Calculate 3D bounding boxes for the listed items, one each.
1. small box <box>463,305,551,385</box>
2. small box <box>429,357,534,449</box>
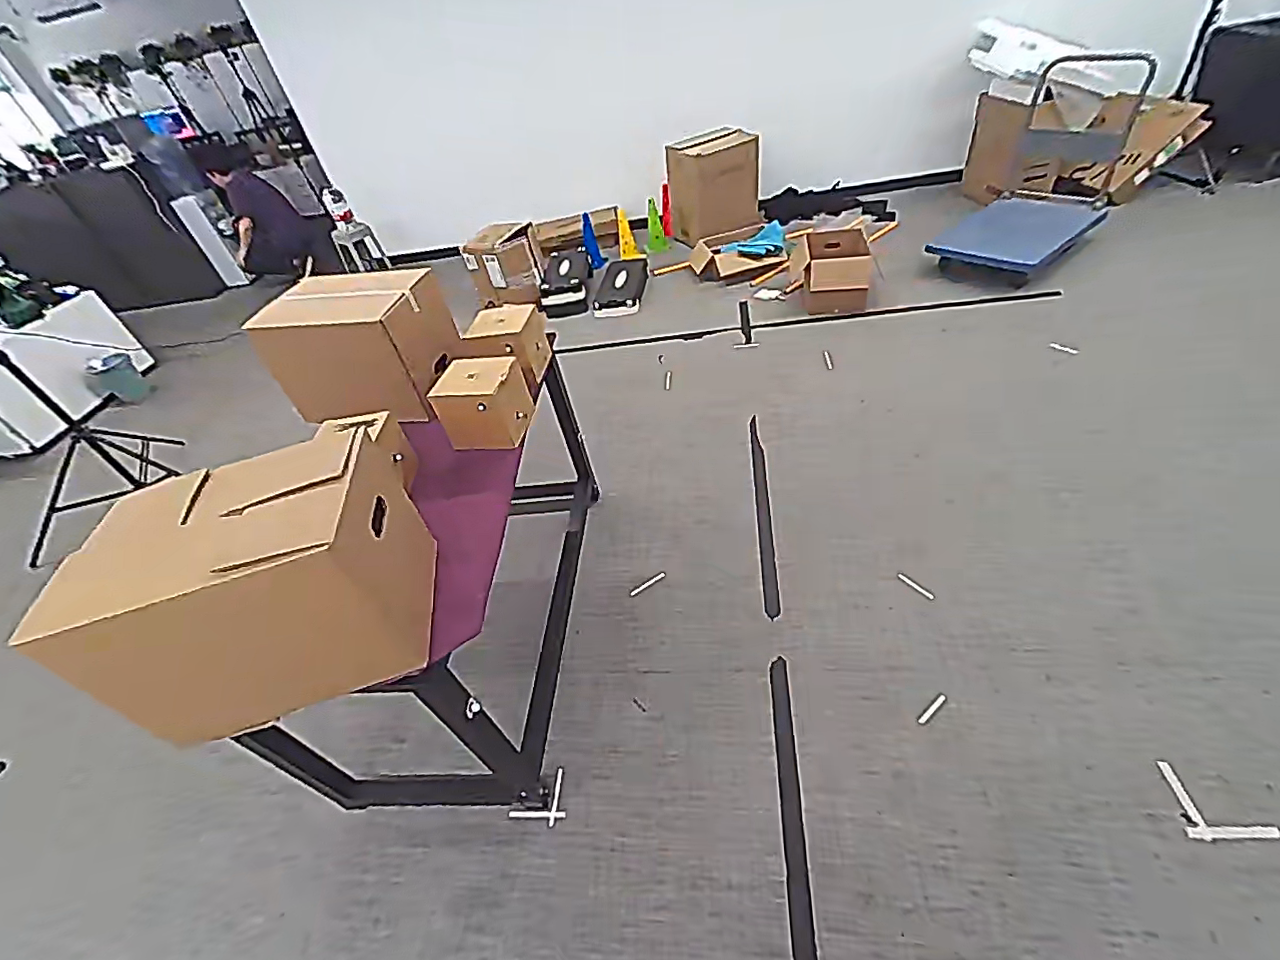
[{"bbox_3d":[-0.374,-0.381,1.563,0.179,0.176,0.168,-3,43,13],"label":"small box"},{"bbox_3d":[-0.390,-0.191,1.365,0.179,0.176,0.168,0,43,13],"label":"small box"}]
